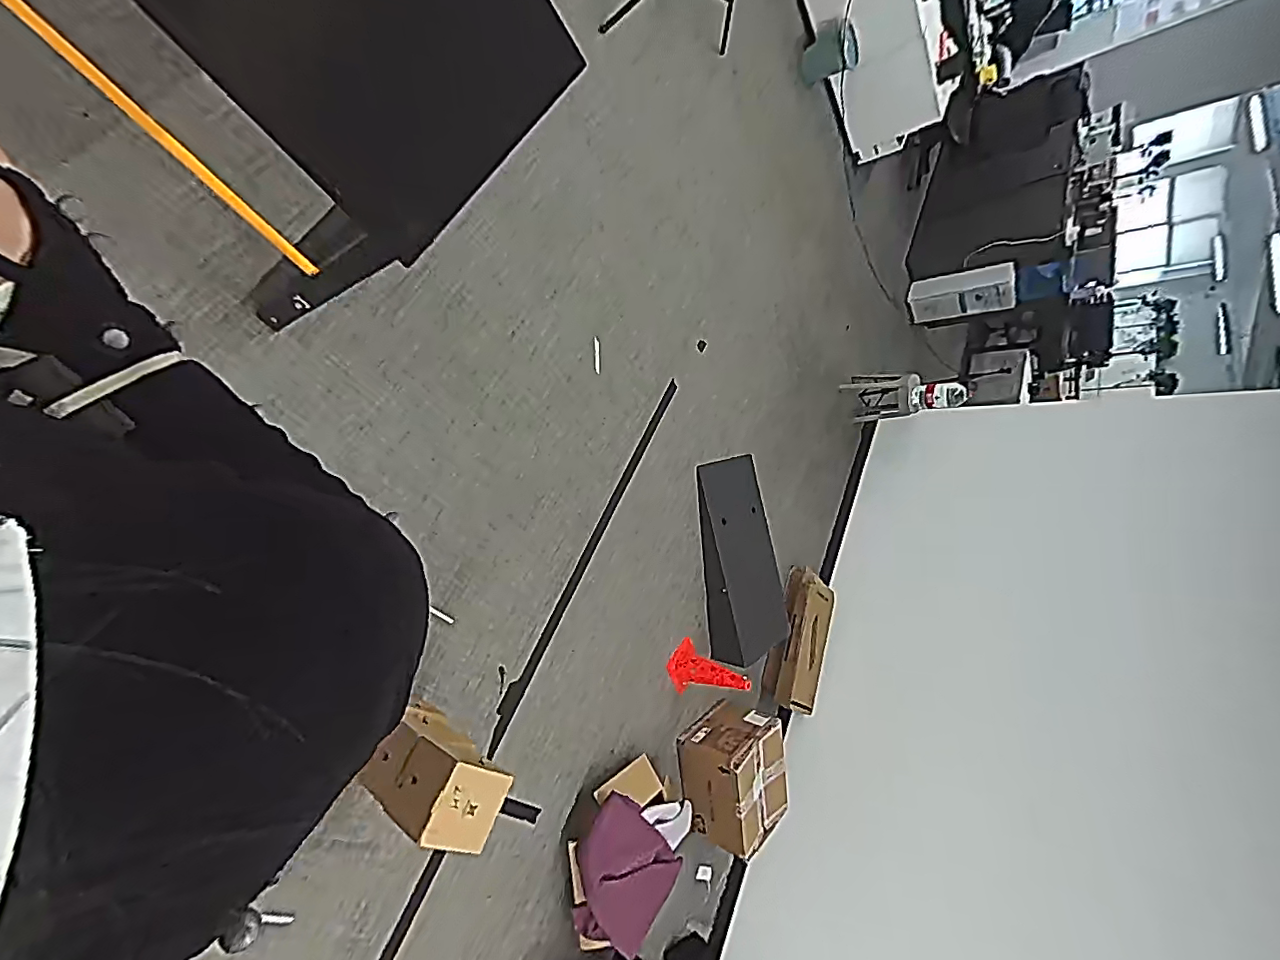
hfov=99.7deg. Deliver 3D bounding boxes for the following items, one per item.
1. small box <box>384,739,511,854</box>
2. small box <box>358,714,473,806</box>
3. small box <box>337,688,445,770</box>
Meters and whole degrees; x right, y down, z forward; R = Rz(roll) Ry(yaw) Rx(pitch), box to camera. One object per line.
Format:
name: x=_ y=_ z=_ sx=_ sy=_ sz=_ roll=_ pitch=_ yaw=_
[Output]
small box: x=-0.436 y=0.712 z=1.227 sx=0.179 sy=0.176 sz=0.168 roll=45 pitch=59 yaw=-39
small box: x=-0.558 y=0.698 z=1.339 sx=0.179 sy=0.176 sz=0.168 roll=39 pitch=63 yaw=-41
small box: x=-0.671 y=0.679 z=1.457 sx=0.179 sy=0.176 sz=0.168 roll=40 pitch=63 yaw=-40
